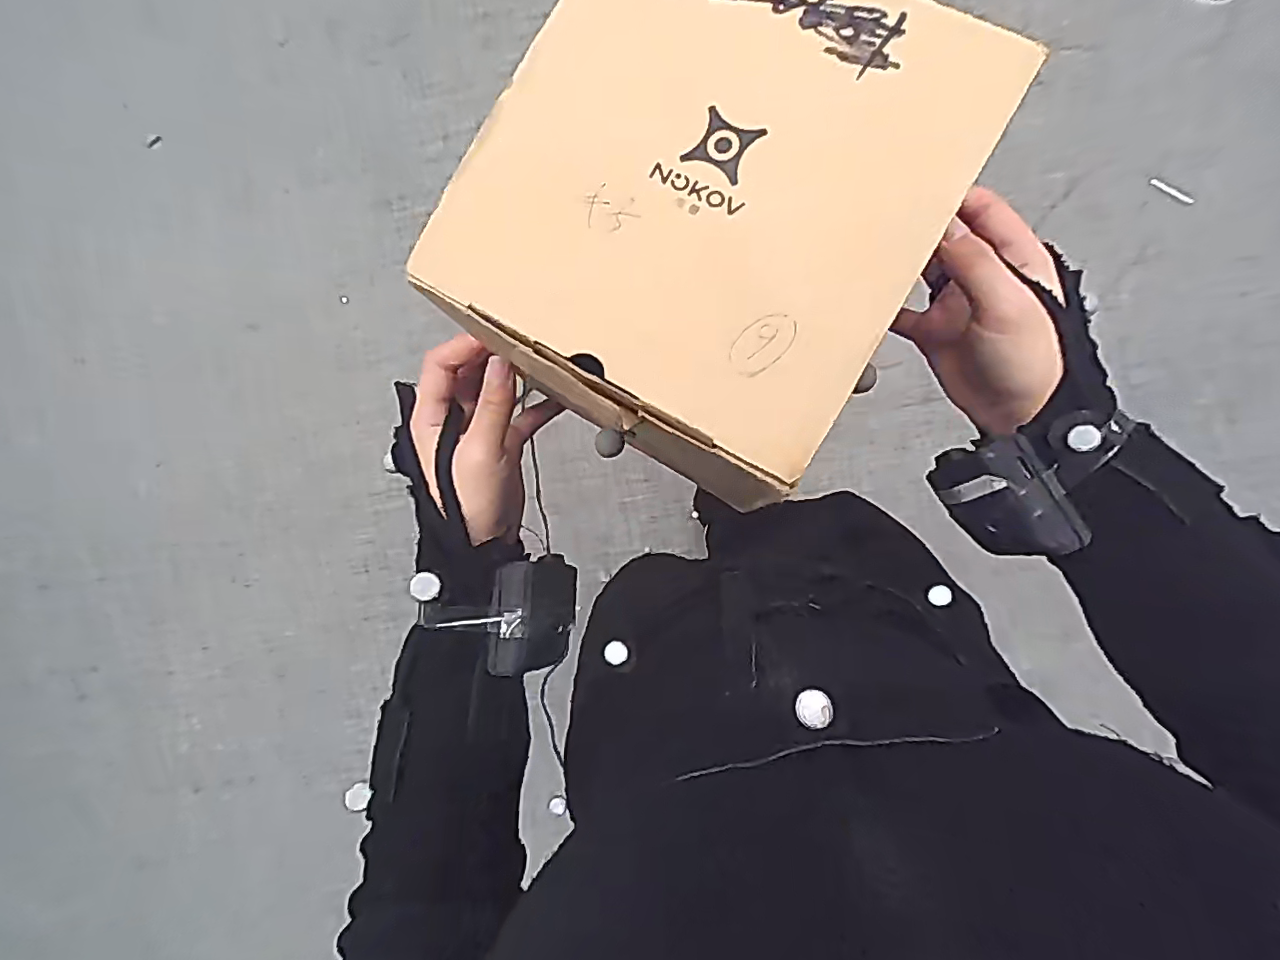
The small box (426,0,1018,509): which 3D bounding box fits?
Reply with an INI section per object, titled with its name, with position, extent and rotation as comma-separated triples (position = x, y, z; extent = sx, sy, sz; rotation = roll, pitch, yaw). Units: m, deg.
[small box]
position = 0.035, -0.096, 0.283
extent = 0.168, 0.176, 0.179
rotation = 31, 88, 9
